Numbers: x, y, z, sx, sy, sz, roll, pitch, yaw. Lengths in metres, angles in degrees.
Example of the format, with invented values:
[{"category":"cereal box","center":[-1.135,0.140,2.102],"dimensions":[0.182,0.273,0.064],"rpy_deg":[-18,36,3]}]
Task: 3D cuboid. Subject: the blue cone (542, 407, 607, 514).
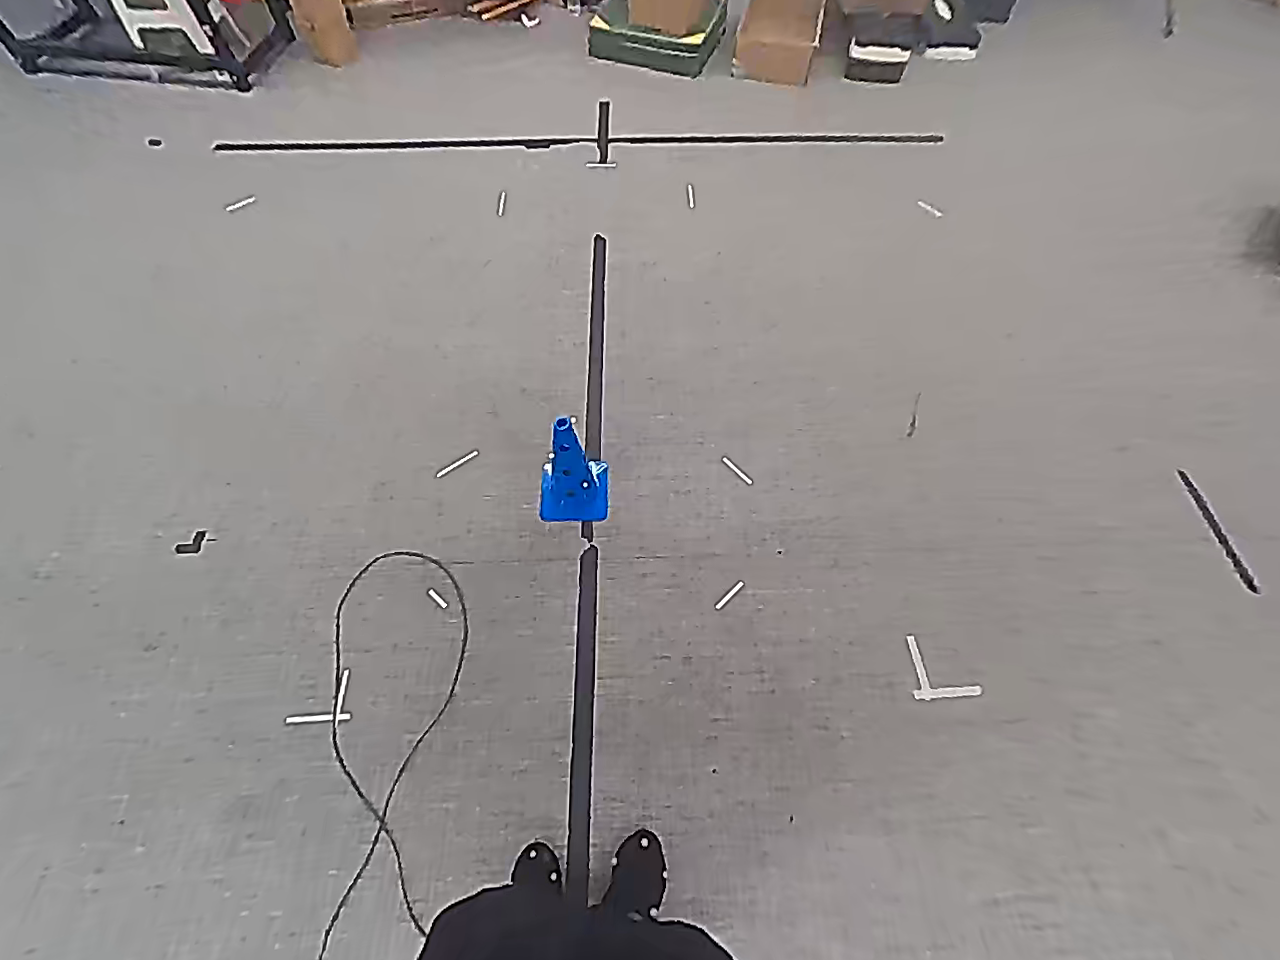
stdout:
[{"category":"blue cone","center":[-0.194,-0.064,1.451],"dimensions":[0.193,0.380,0.192],"rpy_deg":[-2,62,-1]}]
